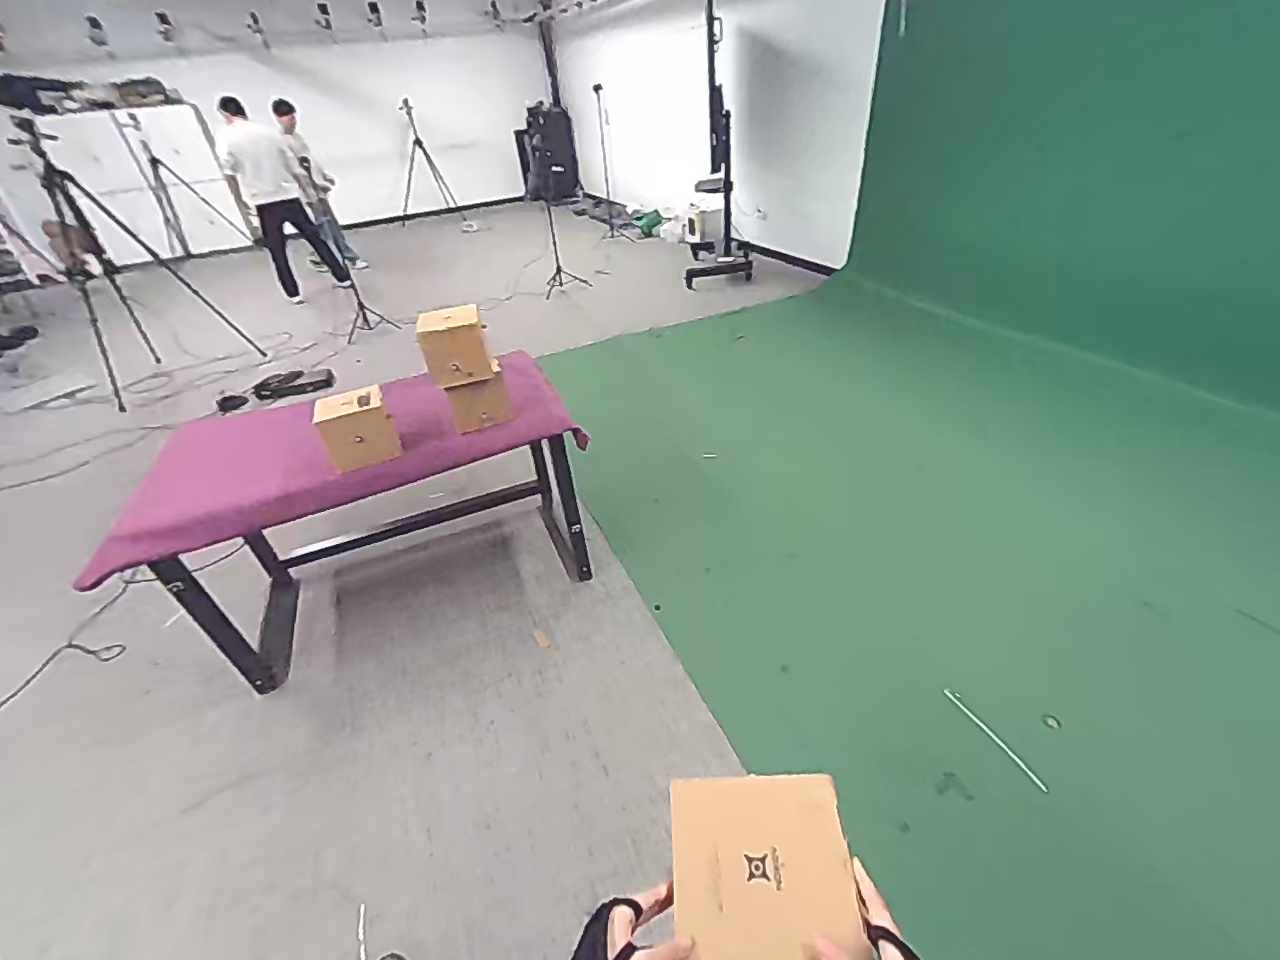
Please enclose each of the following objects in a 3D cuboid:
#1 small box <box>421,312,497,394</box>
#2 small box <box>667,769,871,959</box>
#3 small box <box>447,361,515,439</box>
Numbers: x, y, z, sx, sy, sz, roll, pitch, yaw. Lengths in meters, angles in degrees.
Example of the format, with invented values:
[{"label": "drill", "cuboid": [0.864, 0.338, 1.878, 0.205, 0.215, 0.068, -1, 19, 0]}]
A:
[{"label": "small box", "cuboid": [-0.520, -0.368, 1.568, 0.168, 0.176, 0.179, -14, 36, -9]}, {"label": "small box", "cuboid": [0.123, 0.424, 0.573, 0.179, 0.176, 0.168, -5, 42, 7]}, {"label": "small box", "cuboid": [-0.498, -0.249, 1.679, 0.179, 0.176, 0.168, -18, 35, -16]}]
